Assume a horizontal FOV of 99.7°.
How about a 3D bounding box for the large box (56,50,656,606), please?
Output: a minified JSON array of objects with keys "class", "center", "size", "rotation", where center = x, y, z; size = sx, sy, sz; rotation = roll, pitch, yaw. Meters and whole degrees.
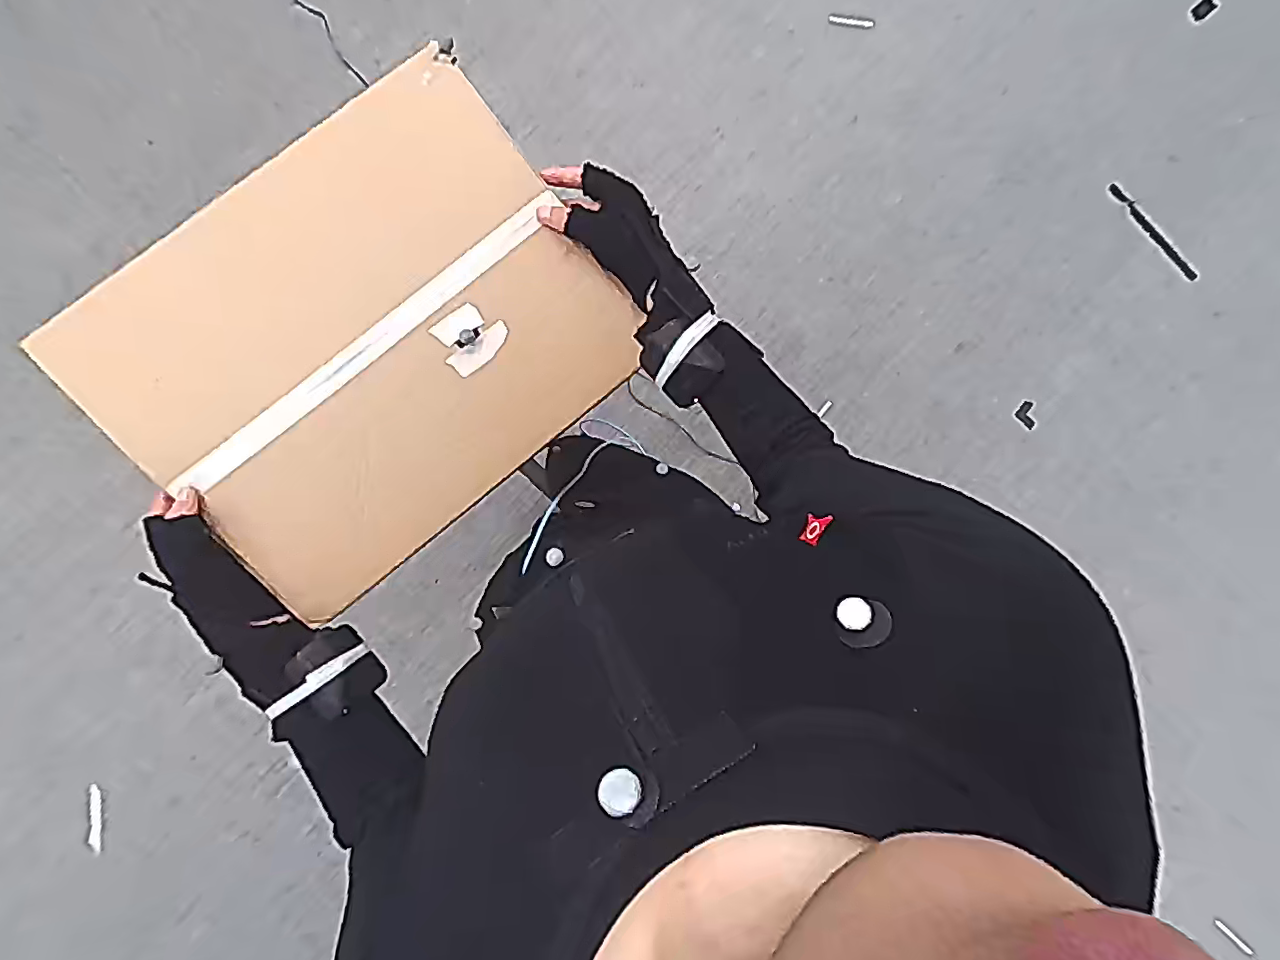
[{"class":"large box","center":[-0.252,-0.137,0.616],"size":[0.408,0.320,0.320],"rotation":[-40,101,-5]}]
